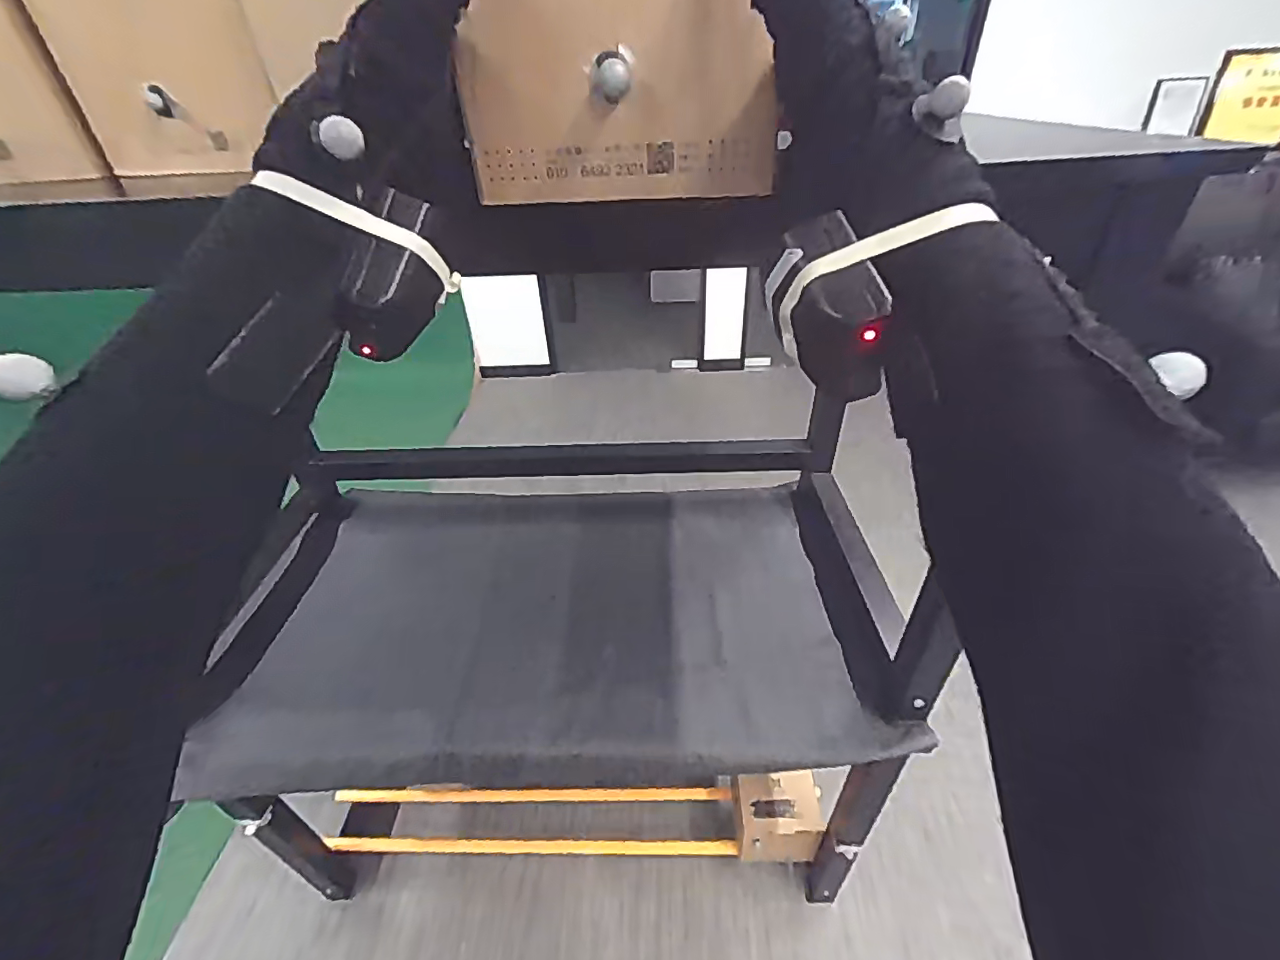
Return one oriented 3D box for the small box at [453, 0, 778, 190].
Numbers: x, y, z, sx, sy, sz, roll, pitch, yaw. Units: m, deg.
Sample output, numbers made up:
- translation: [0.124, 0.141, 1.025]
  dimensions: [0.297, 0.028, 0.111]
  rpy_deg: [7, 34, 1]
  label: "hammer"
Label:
- translation: [-0.009, -0.281, 0.324]
  dimensions: [0.168, 0.176, 0.179]
  rpy_deg: [0, 37, 6]
  label: "small box"
